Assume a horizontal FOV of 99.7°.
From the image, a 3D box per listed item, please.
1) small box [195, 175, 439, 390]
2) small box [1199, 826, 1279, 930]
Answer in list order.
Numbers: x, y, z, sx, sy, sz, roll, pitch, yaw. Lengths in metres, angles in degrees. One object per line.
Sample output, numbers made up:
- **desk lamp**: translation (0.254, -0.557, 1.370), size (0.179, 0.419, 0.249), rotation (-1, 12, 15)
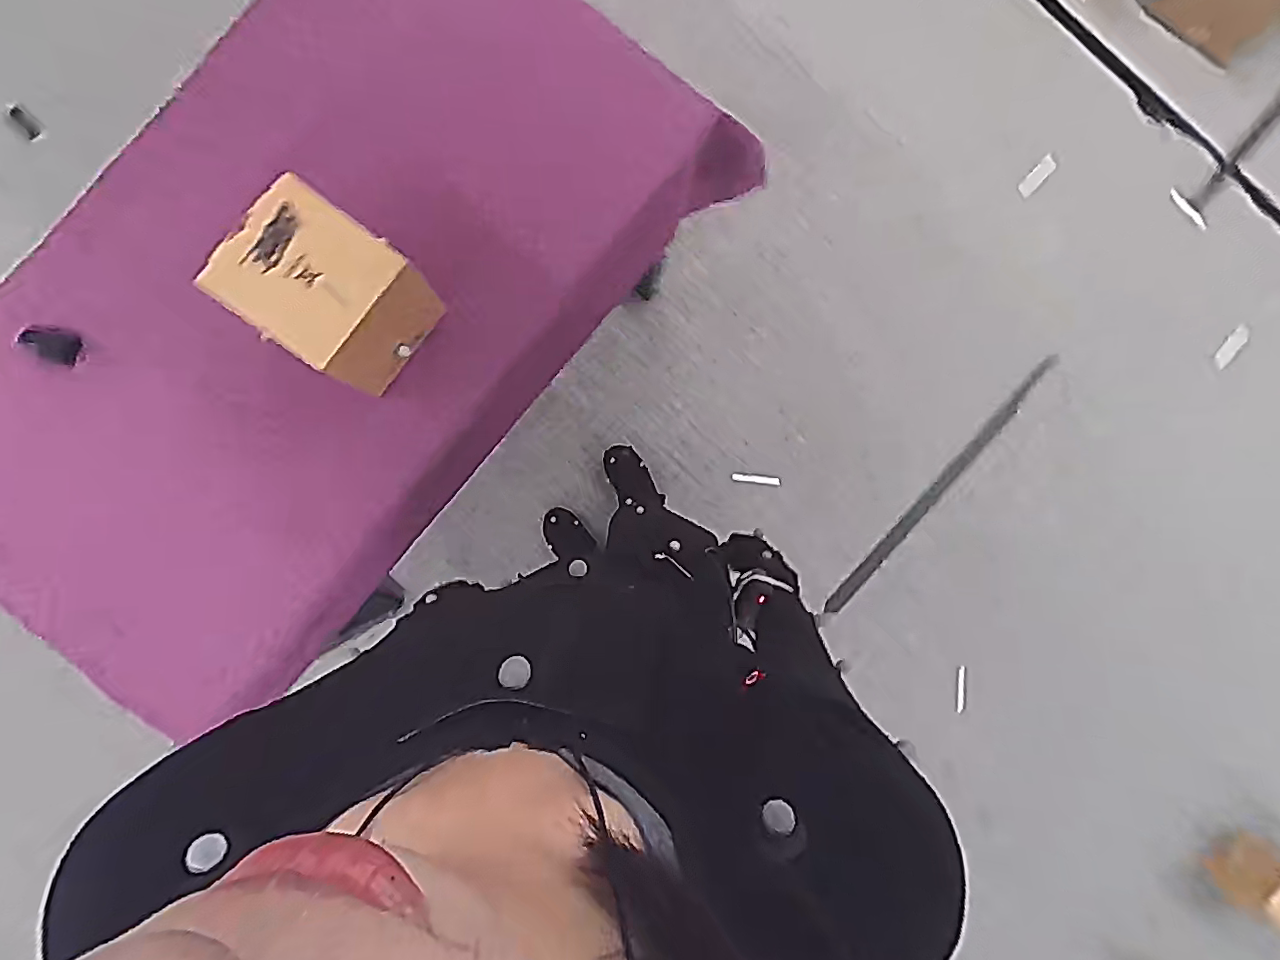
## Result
- **small box**: translation (-0.397, -0.237, 0.702), size (0.179, 0.176, 0.168), rotation (36, 86, -2)
- **small box**: translation (1.776, 1.138, 1.532), size (0.179, 0.176, 0.168), rotation (45, 84, 0)
